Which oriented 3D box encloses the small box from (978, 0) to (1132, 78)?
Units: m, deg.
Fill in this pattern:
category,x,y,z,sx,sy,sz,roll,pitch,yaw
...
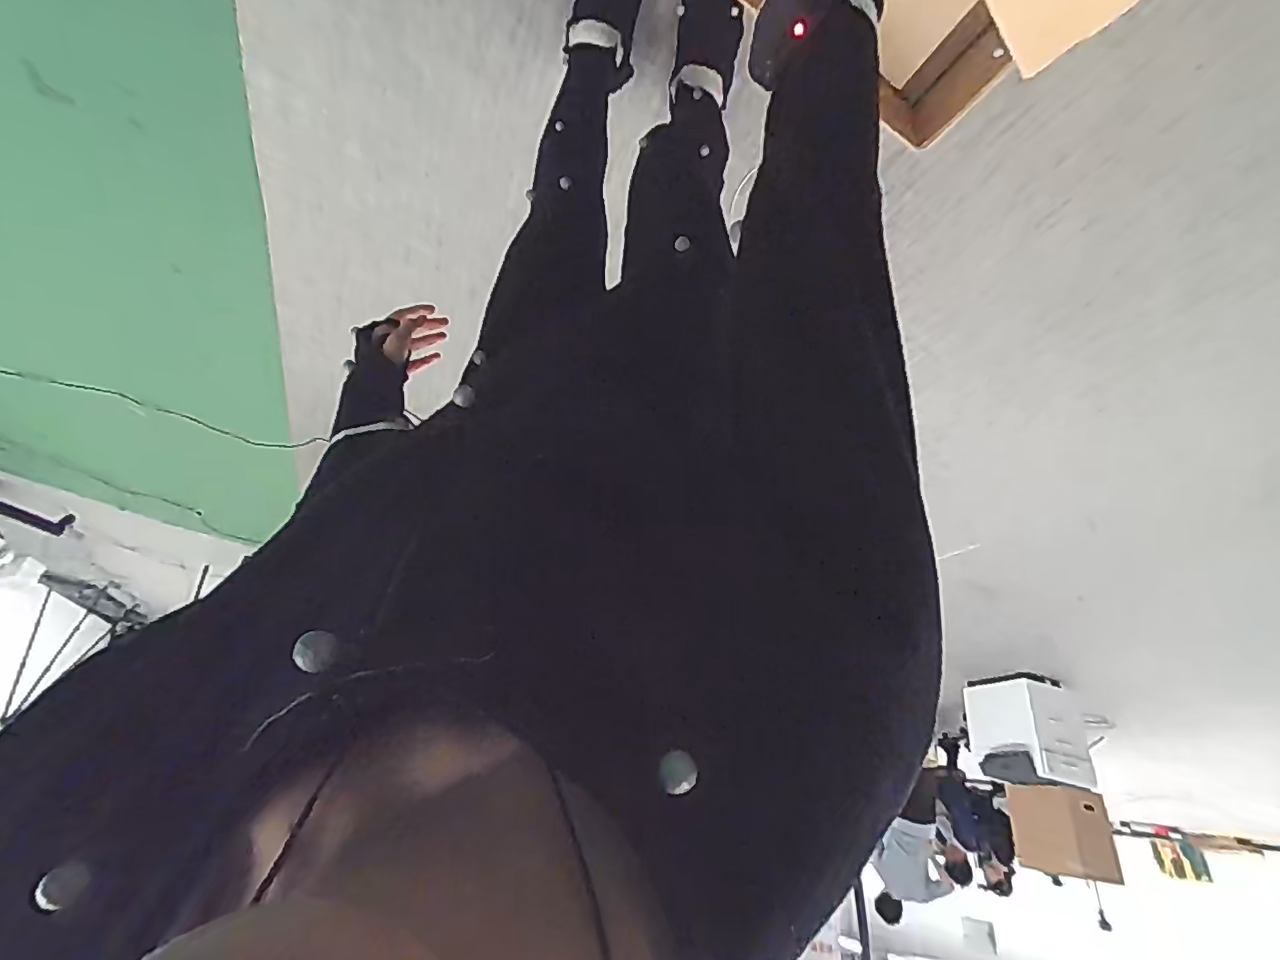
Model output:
category,x,y,z,sx,sy,sz,roll,pitch,yaw
small box,0.452,-0.604,0.585,0.179,0.176,0.168,31,145,-29
